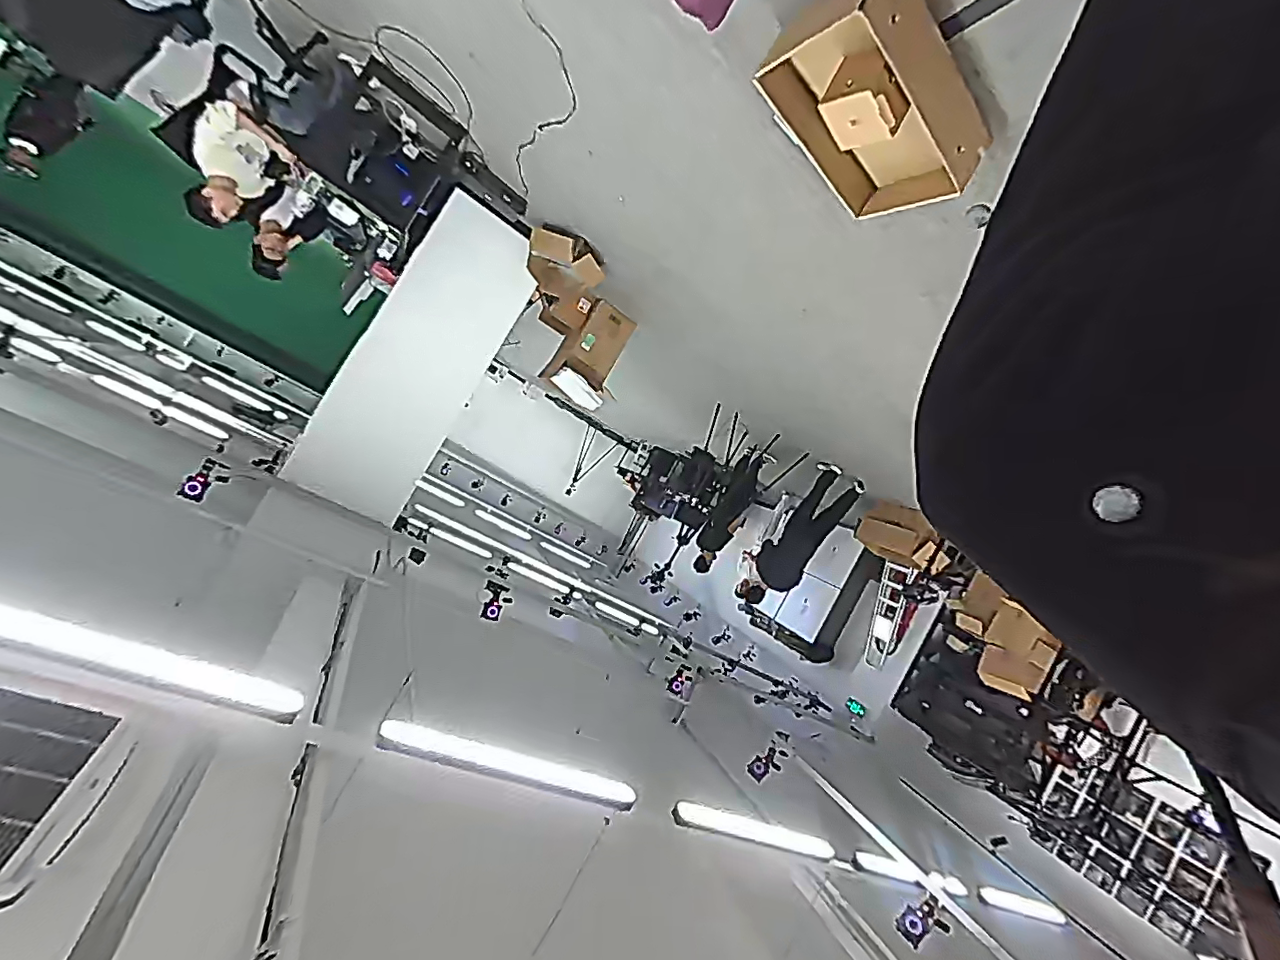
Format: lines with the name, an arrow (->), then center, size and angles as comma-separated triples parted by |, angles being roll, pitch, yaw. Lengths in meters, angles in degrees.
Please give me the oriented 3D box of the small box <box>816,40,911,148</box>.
small box -> 0.640, -1.091, 1.533 | 0.168, 0.176, 0.179 | 32, 176, -40
